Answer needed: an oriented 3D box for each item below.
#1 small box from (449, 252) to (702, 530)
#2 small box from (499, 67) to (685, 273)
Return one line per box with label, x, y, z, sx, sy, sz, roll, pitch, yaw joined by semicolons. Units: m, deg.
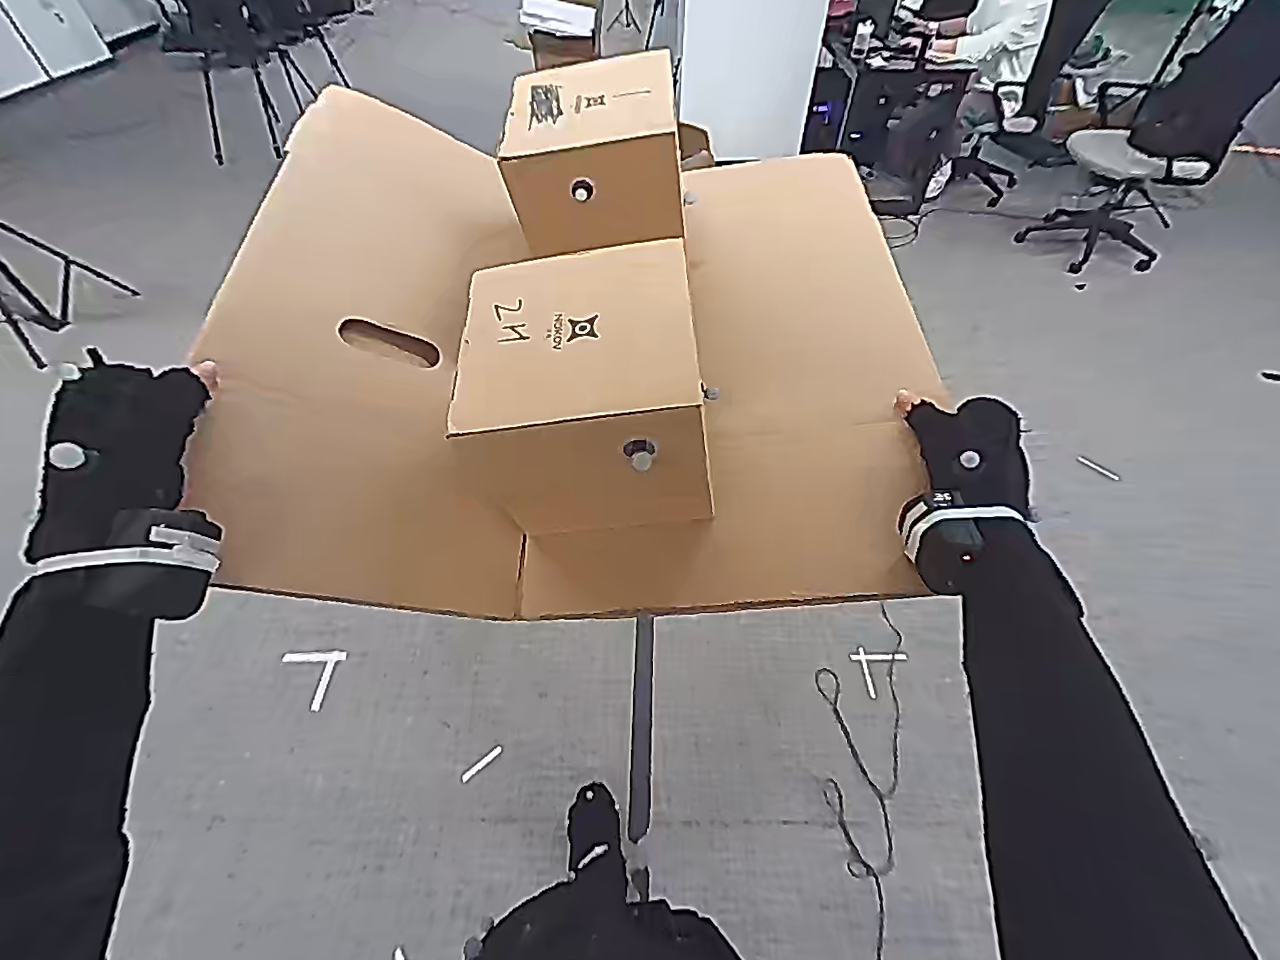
small box;-0.038;-0.067;0.478;0.179;0.176;0.168;-6;59;8
small box;-0.043;-0.340;0.637;0.179;0.176;0.168;-4;60;7
